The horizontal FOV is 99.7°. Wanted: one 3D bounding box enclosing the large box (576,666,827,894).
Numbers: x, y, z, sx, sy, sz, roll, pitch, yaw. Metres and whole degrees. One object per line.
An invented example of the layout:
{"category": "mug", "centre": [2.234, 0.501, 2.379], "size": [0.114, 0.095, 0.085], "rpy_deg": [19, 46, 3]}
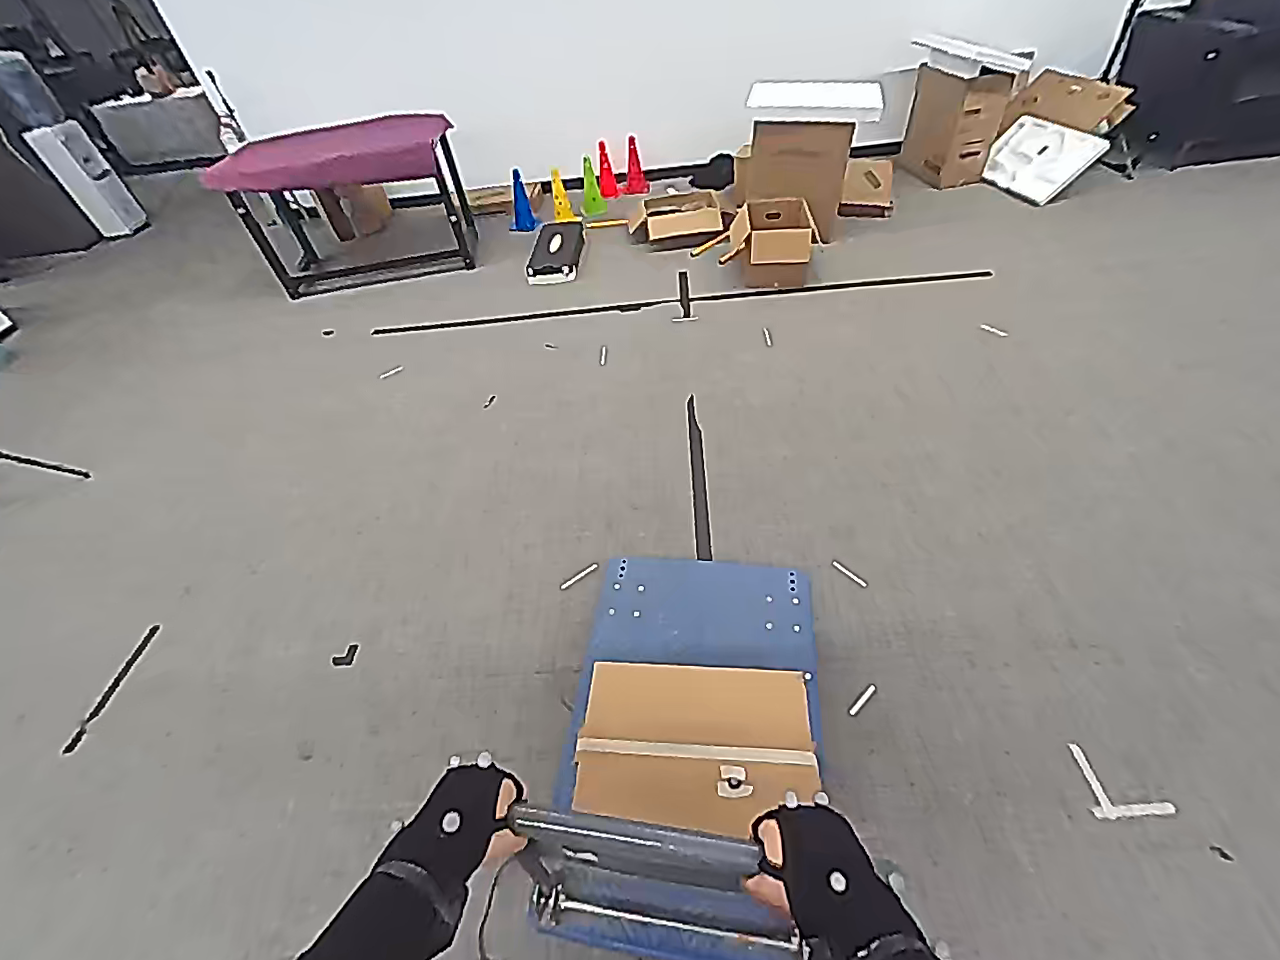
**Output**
{"category": "large box", "centre": [0.112, 0.584, 1.057], "size": [0.408, 0.320, 0.320], "rpy_deg": [1, 47, 7]}
